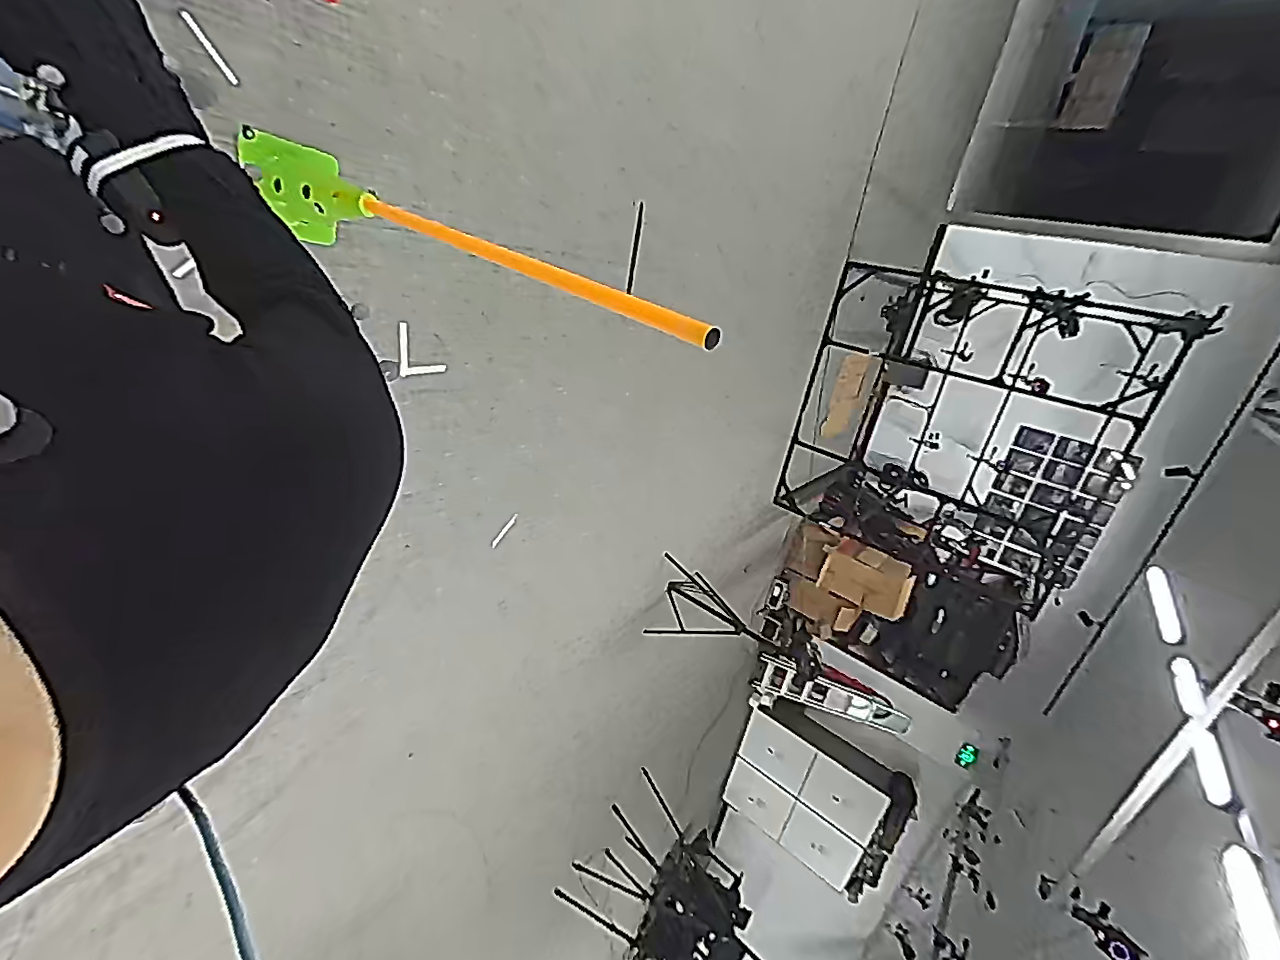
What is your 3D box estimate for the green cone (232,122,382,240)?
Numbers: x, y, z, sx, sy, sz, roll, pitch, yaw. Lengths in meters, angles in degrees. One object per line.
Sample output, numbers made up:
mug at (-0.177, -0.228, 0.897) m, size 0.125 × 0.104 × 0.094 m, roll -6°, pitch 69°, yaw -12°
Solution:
green cone at (-0.662, -0.598, 1.128) m, size 0.202 × 0.368 × 0.200 m, roll -15°, pitch 124°, yaw -54°
